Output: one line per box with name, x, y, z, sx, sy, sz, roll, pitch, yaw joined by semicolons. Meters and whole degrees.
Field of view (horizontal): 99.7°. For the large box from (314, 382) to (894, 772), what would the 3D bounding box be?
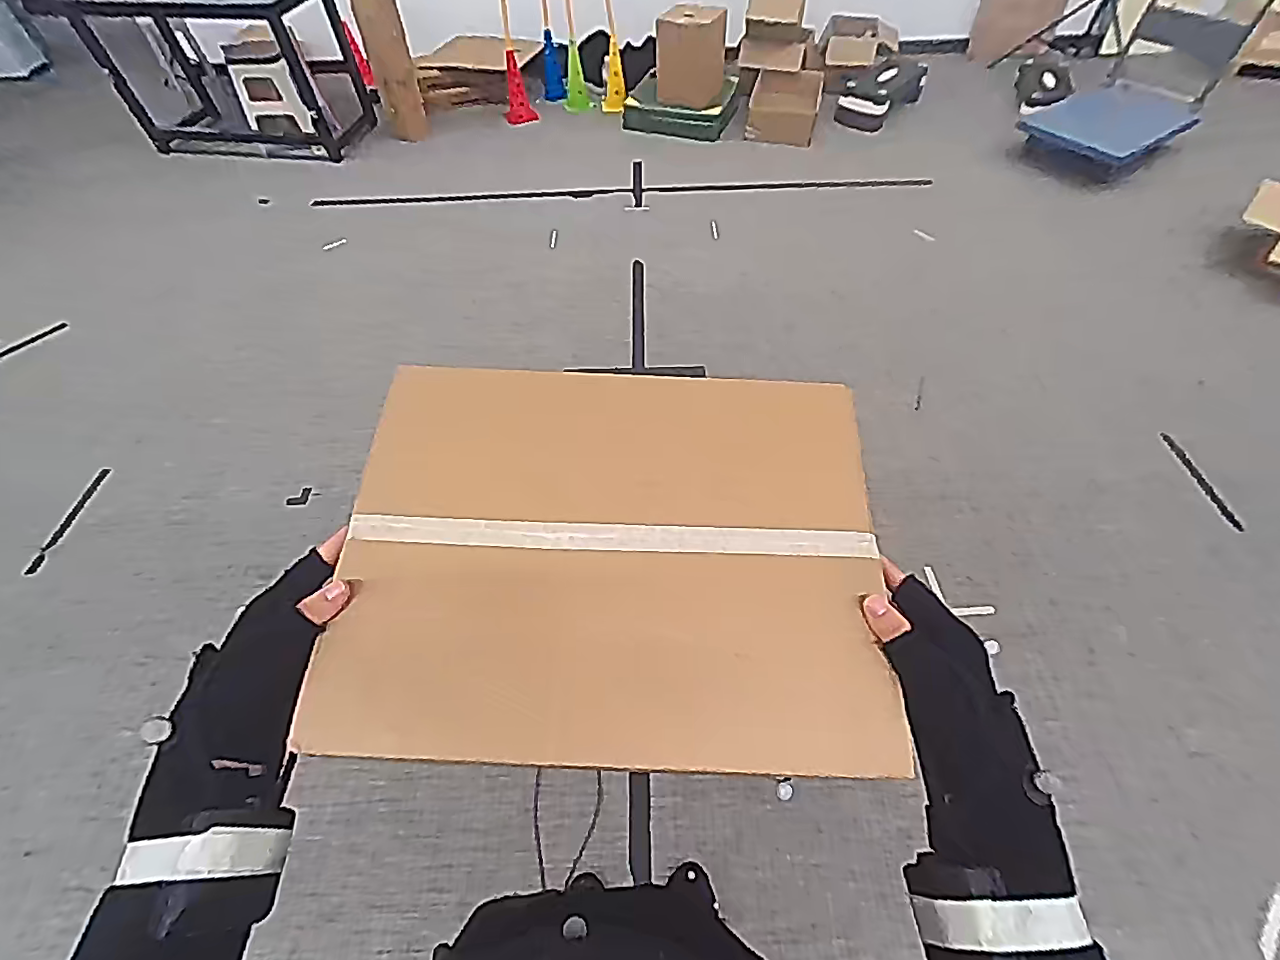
large box;-0.021;0.117;0.564;0.408;0.320;0.320;2;63;0
